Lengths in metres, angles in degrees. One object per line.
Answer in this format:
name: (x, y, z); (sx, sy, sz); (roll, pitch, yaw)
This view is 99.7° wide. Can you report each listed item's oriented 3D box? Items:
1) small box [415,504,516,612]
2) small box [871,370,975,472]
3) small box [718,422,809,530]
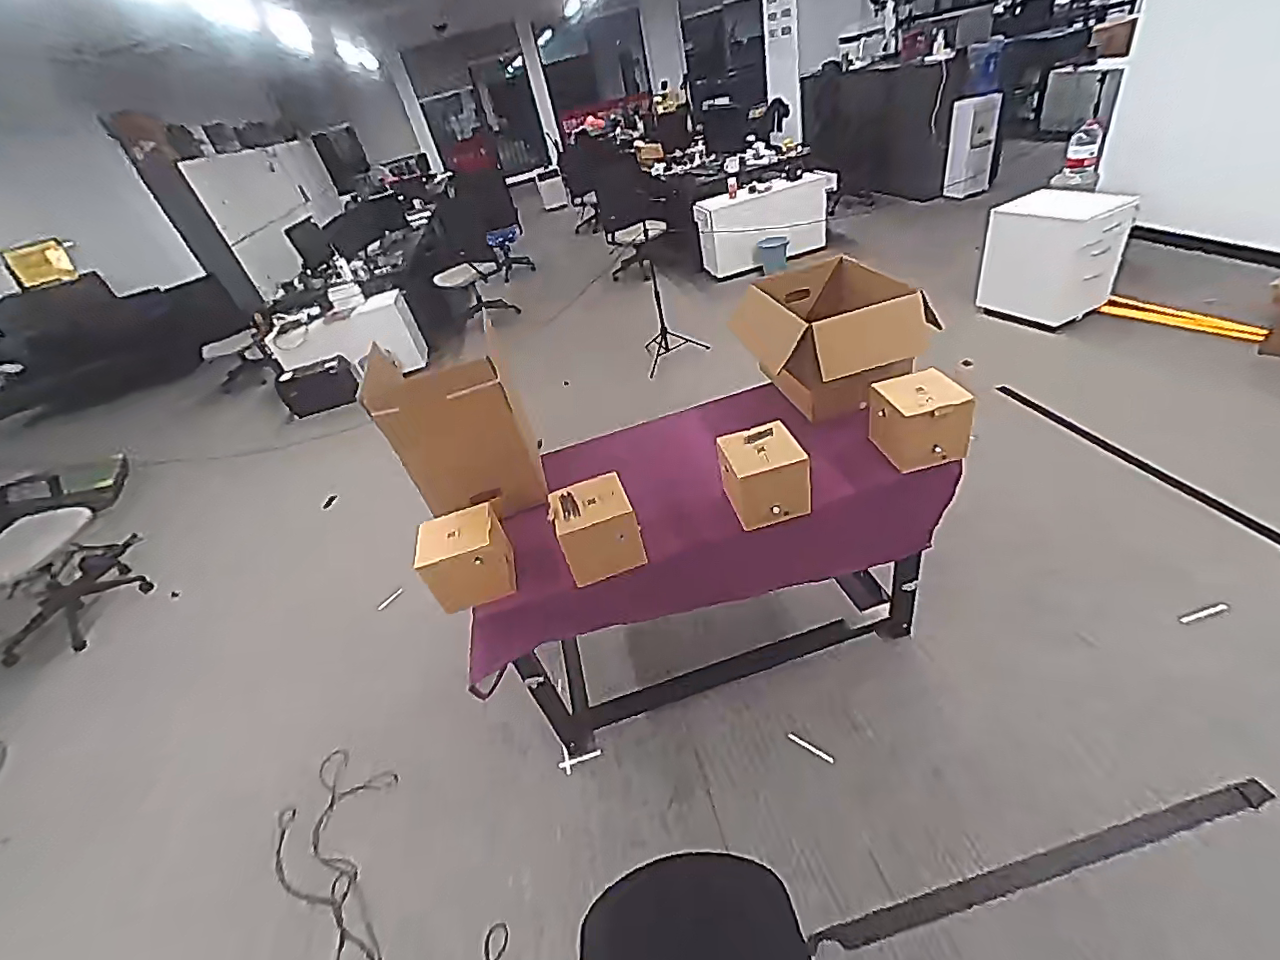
small box: (-0.412, 0.190, 1.299); (0.179, 0.176, 0.168); (-17, 36, -5)
small box: (0.688, -0.146, 1.339); (0.168, 0.176, 0.179); (-15, 36, 2)
small box: (0.297, -0.009, 1.305); (0.168, 0.176, 0.179); (-16, 37, 0)
